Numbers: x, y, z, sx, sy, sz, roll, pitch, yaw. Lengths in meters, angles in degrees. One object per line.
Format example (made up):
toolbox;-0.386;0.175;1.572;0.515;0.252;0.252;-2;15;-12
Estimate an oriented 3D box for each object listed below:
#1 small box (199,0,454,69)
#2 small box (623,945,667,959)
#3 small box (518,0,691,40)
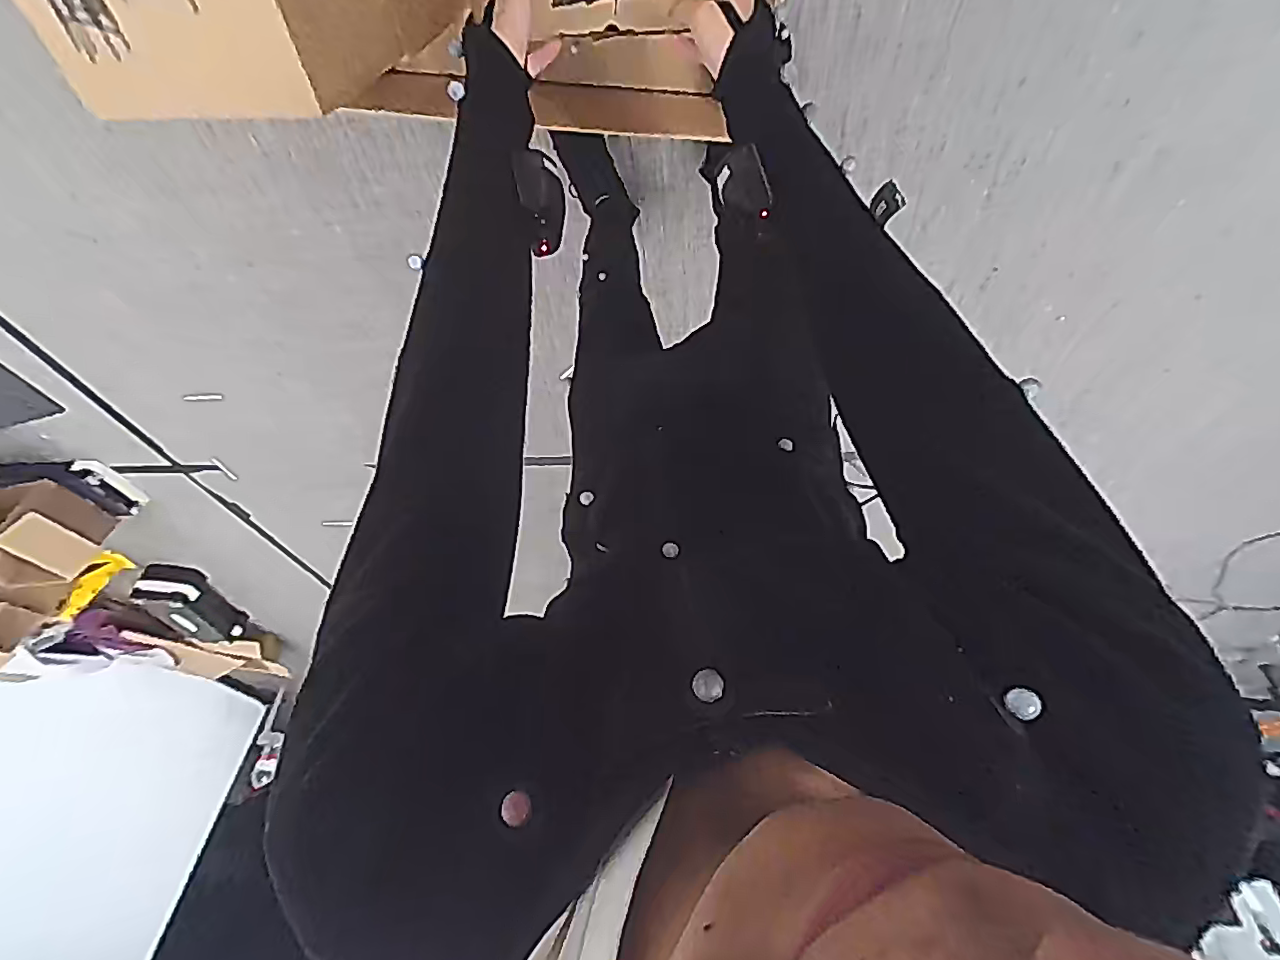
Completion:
small box;-0.285;-0.489;0.471;0.168;0.176;0.179;2;141;5
small box;0.021;1.963;2.147;0.168;0.176;0.179;-2;142;8
small box;-0.033;-0.546;0.527;0.168;0.176;0.179;-1;129;1
